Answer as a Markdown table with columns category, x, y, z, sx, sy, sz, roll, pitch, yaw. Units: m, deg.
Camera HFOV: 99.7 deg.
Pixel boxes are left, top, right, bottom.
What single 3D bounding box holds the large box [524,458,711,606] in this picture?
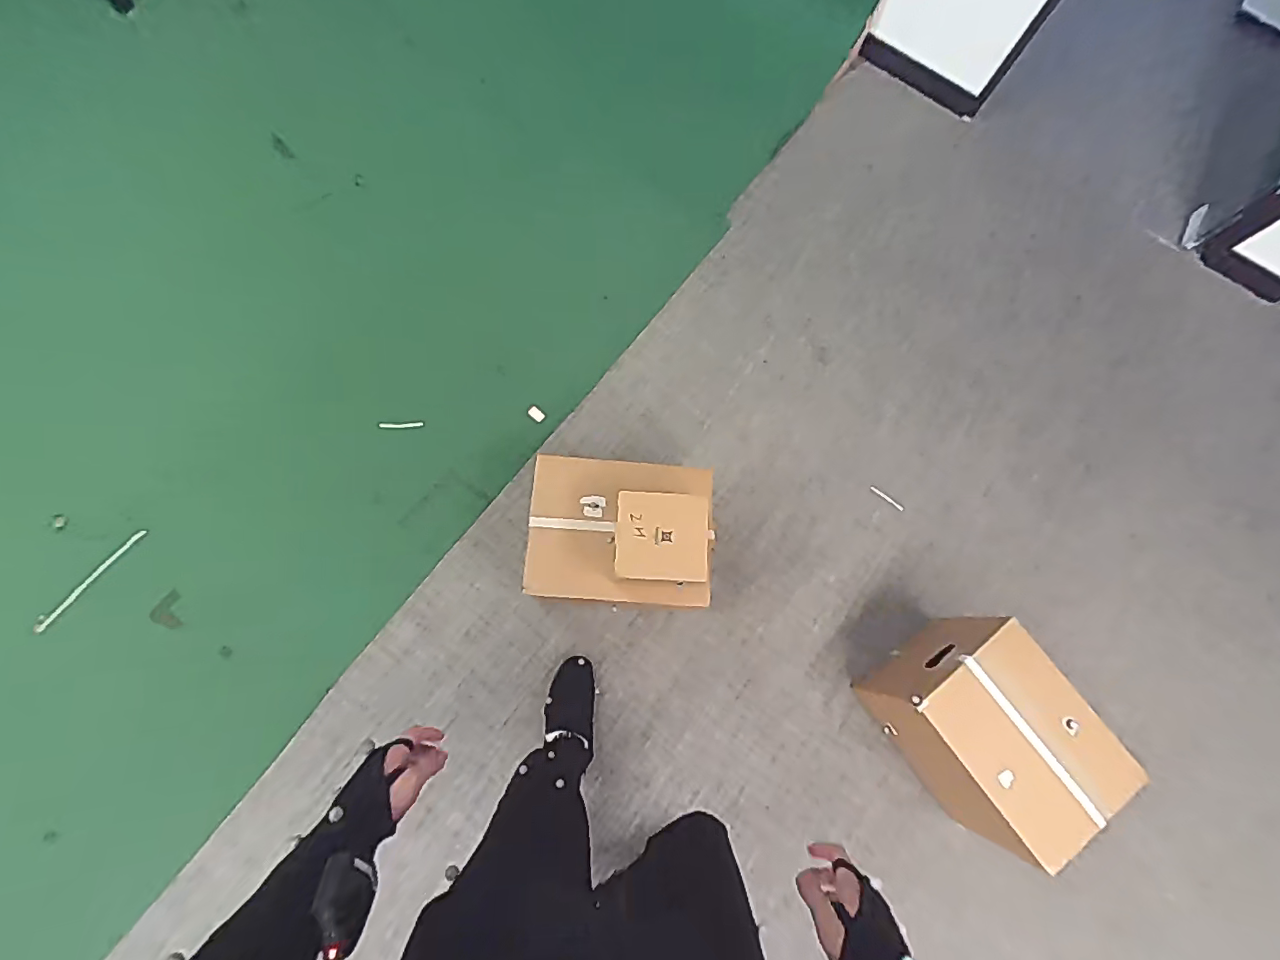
| category | x | y | z | sx | sy | sz | roll | pitch | yaw |
| --- | --- | --- | --- | --- | --- | --- | --- | --- | --- |
| large box | -0.048 | 0.144 | 1.326 | 0.408 | 0.320 | 0.320 | 4 | 74 | -2 |

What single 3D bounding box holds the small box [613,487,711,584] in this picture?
| category | x | y | z | sx | sy | sz | roll | pitch | yaw |
| --- | --- | --- | --- | --- | --- | --- | --- | --- | --- |
| small box | 0.039 | 0.117 | 1.083 | 0.179 | 0.176 | 0.168 | 4 | 76 | -3 |
